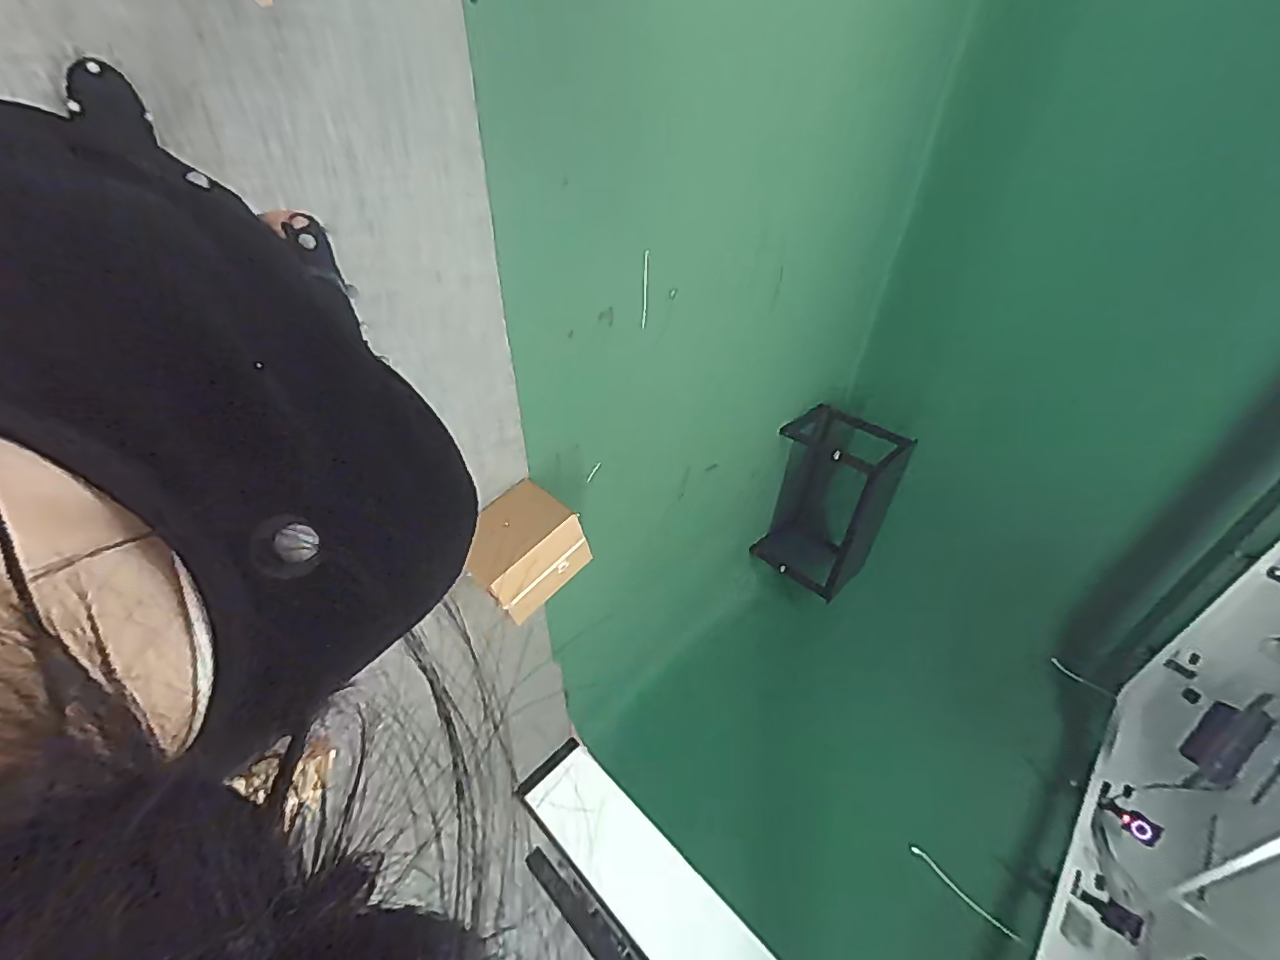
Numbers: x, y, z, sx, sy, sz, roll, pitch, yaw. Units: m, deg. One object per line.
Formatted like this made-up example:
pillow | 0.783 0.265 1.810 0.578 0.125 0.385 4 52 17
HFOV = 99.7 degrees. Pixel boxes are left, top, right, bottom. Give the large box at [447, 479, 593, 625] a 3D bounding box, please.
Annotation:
large box | -0.458 0.274 2.114 0.408 0.320 0.320 -43 145 -24
